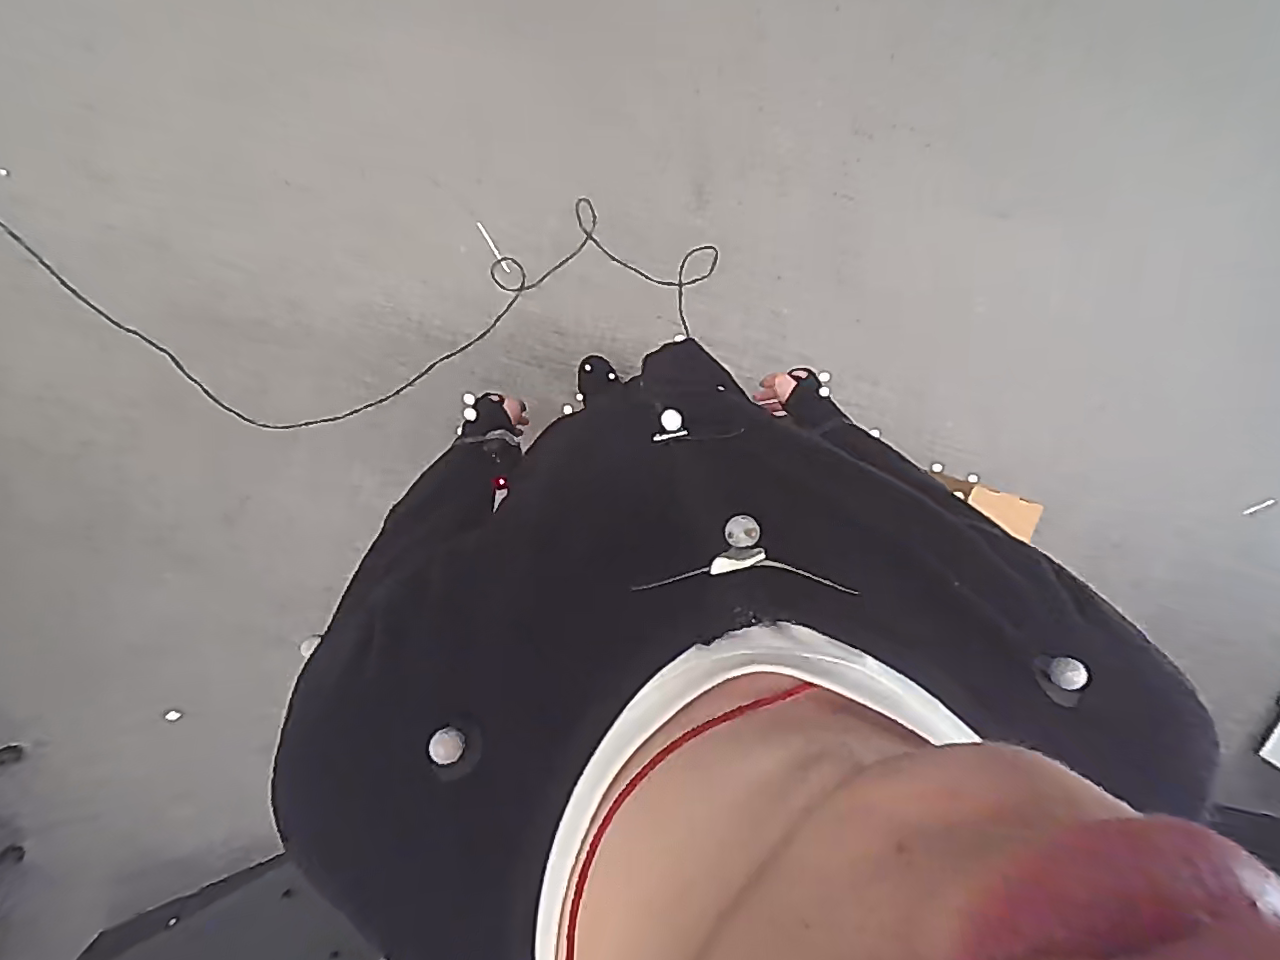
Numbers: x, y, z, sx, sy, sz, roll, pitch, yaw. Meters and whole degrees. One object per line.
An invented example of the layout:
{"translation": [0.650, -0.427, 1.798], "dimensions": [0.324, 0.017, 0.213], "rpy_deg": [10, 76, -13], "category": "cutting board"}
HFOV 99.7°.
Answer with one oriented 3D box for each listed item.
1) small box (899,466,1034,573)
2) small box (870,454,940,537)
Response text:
{"translation": [0.724, 0.081, 1.222], "dimensions": [0.168, 0.176, 0.179], "rpy_deg": [16, 104, -6], "category": "small box"}
{"translation": [0.717, 0.049, 1.380], "dimensions": [0.168, 0.176, 0.179], "rpy_deg": [15, 102, -7], "category": "small box"}
